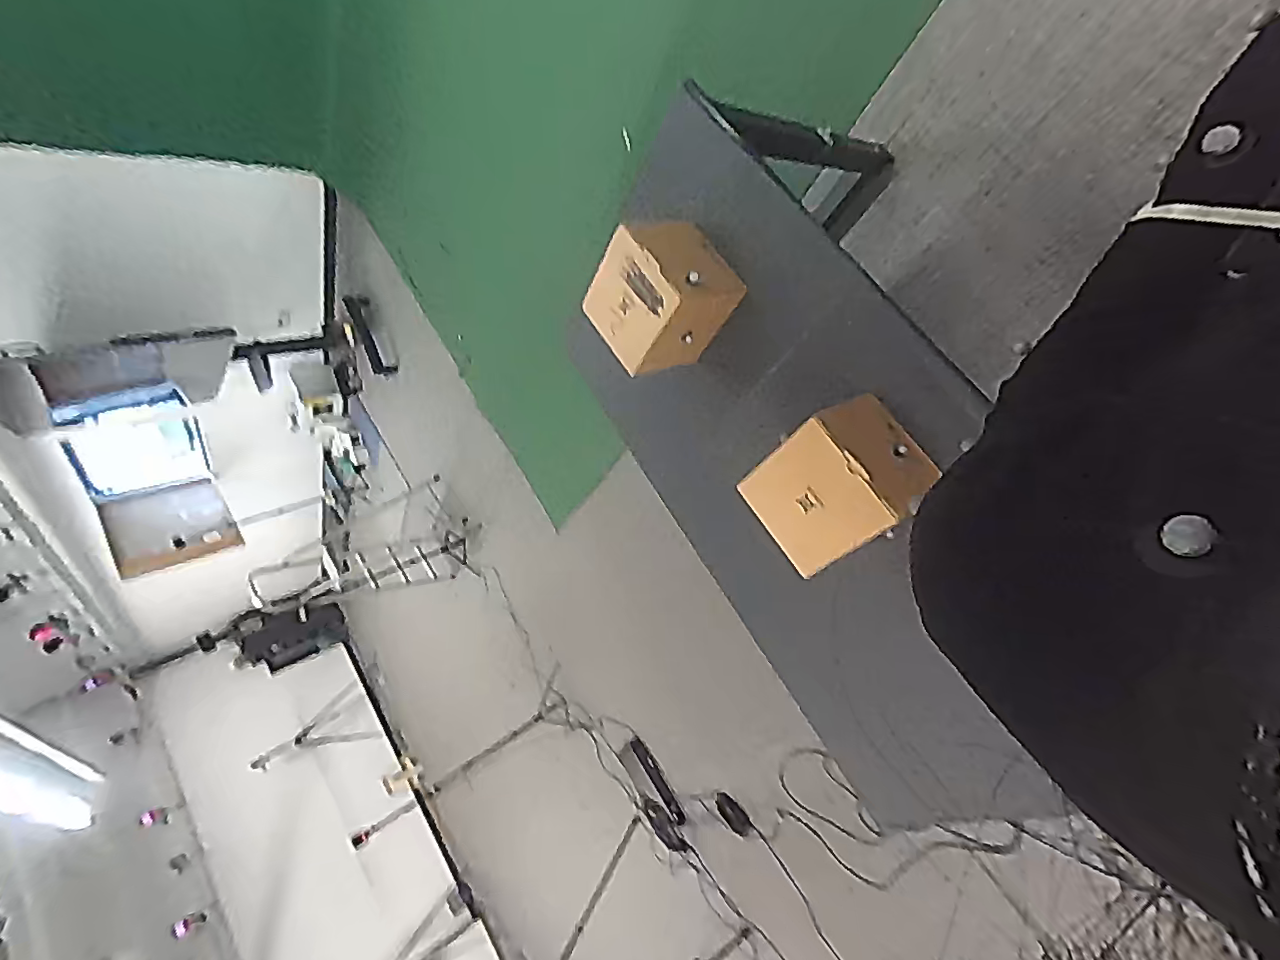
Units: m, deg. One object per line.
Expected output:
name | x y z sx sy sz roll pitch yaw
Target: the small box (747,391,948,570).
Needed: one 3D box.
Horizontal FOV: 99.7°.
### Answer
small box | 0.296 -0.003 0.776 0.168 0.176 0.179 54 138 16
